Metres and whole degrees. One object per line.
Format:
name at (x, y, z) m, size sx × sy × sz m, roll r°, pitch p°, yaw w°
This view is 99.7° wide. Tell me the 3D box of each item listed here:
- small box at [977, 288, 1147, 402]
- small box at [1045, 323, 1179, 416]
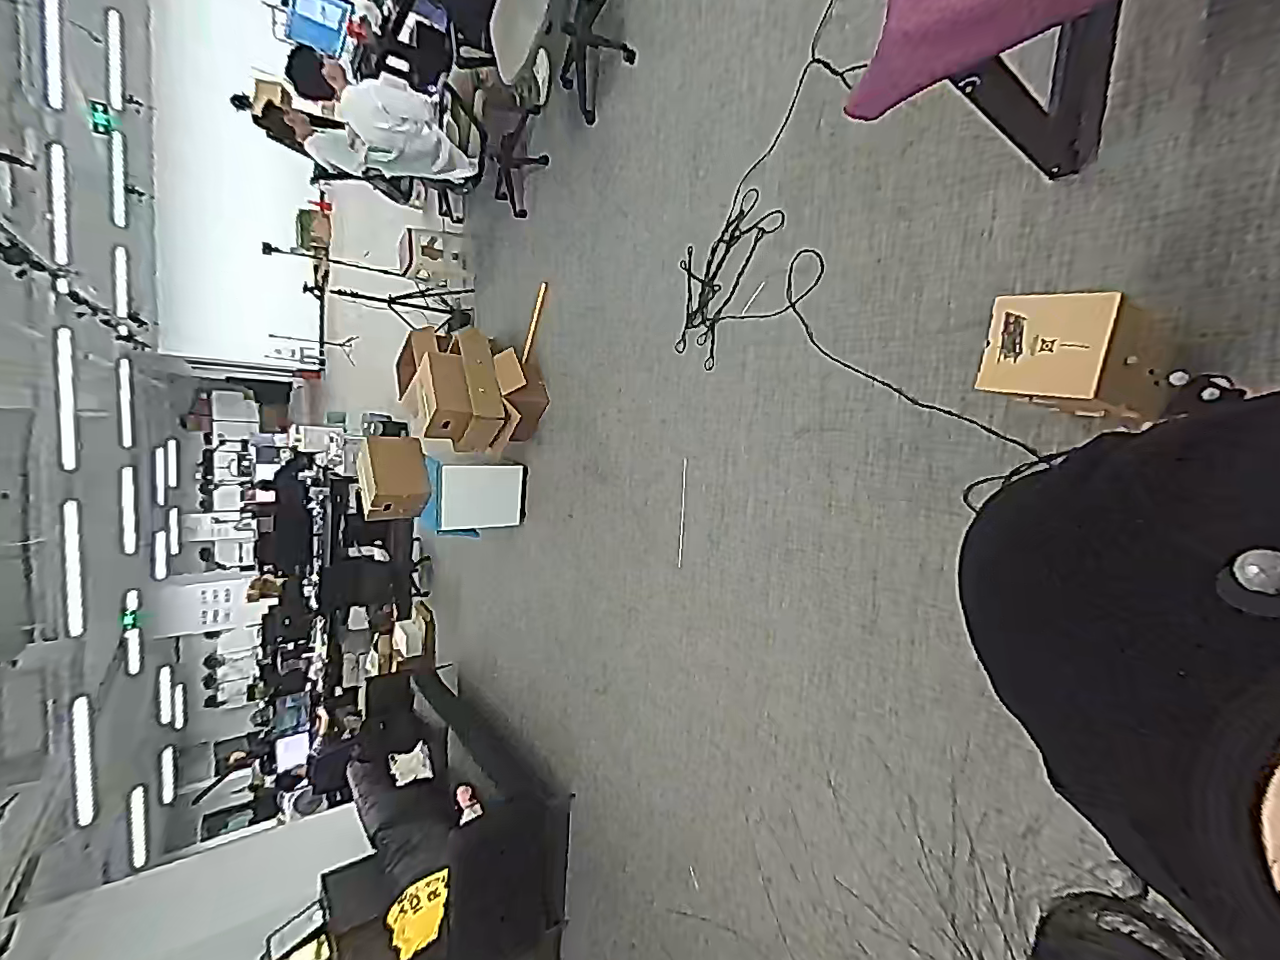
small box at (0.732, -0.230, 0.942) m, size 0.179 × 0.176 × 0.168 m, roll 20°, pitch 107°, yaw 50°
small box at (0.996, -0.230, 1.140) m, size 0.168 × 0.176 × 0.179 m, roll 17°, pitch 105°, yaw 51°
